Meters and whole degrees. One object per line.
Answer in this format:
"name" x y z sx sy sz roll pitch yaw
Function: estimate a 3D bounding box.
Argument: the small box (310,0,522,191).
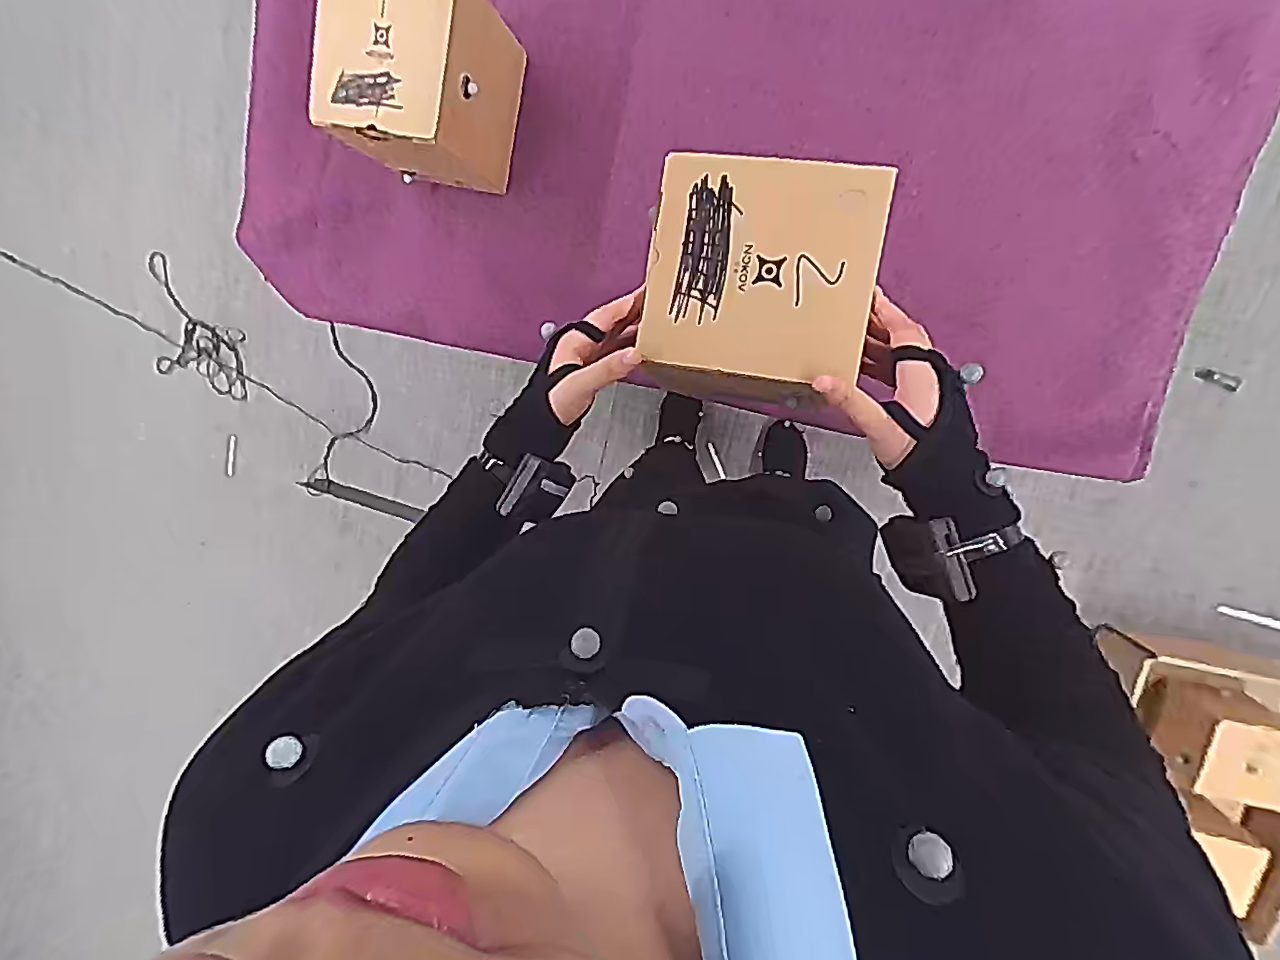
"small box" -0.261 -0.479 0.658 0.168 0.176 0.179 15 101 10

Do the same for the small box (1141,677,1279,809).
"small box" 1.255 0.564 1.180 0.168 0.176 0.179 9 102 10

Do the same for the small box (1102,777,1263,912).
"small box" 1.218 0.816 1.230 0.179 0.176 0.168 11 100 11
